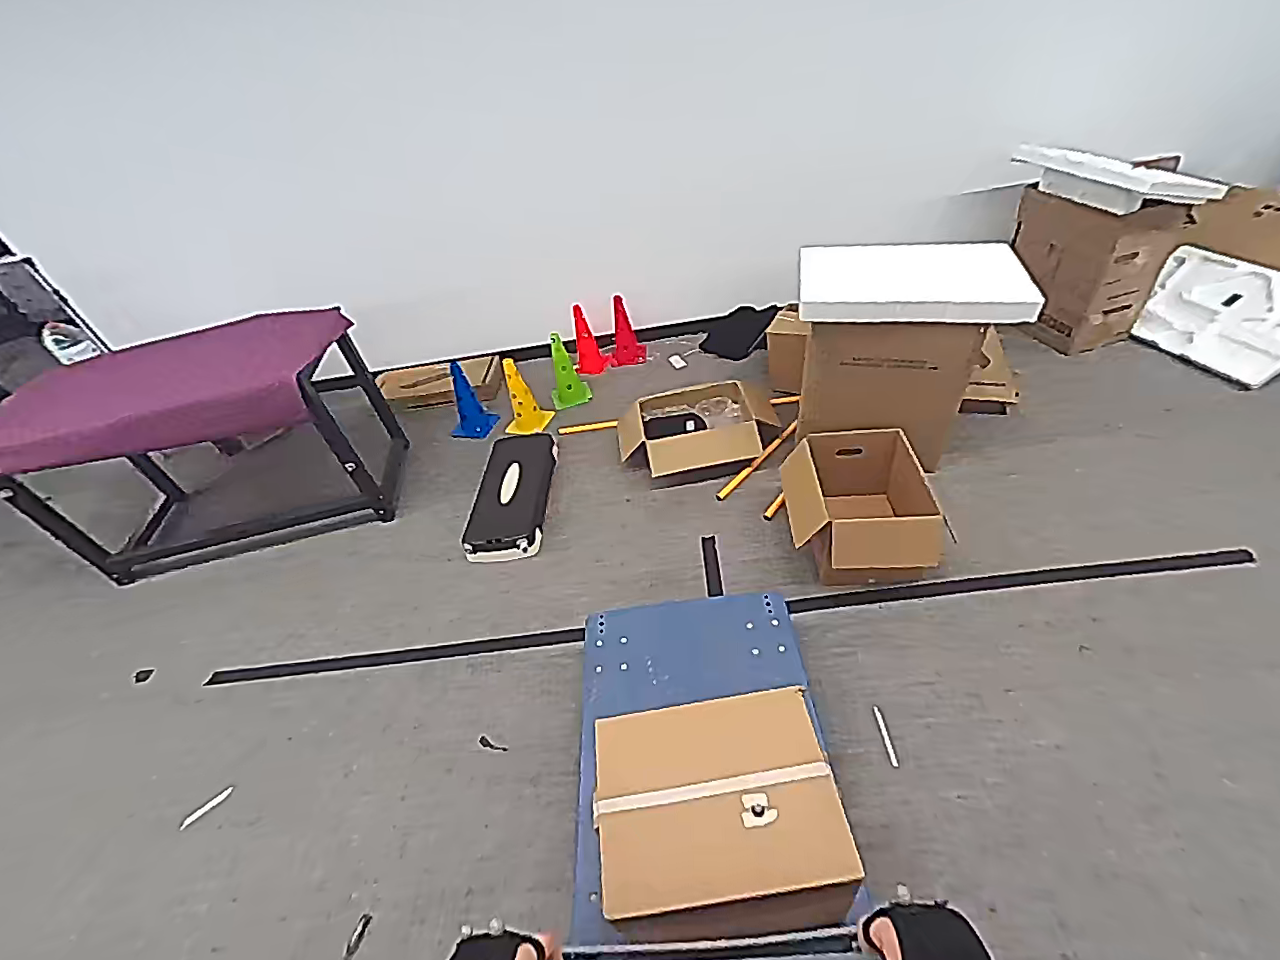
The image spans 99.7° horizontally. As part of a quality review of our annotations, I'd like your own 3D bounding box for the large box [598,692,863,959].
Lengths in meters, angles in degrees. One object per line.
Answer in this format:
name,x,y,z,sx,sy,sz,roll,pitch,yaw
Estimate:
large box,0.148,0.656,1.029,0.408,0.320,0.320,-10,41,0
